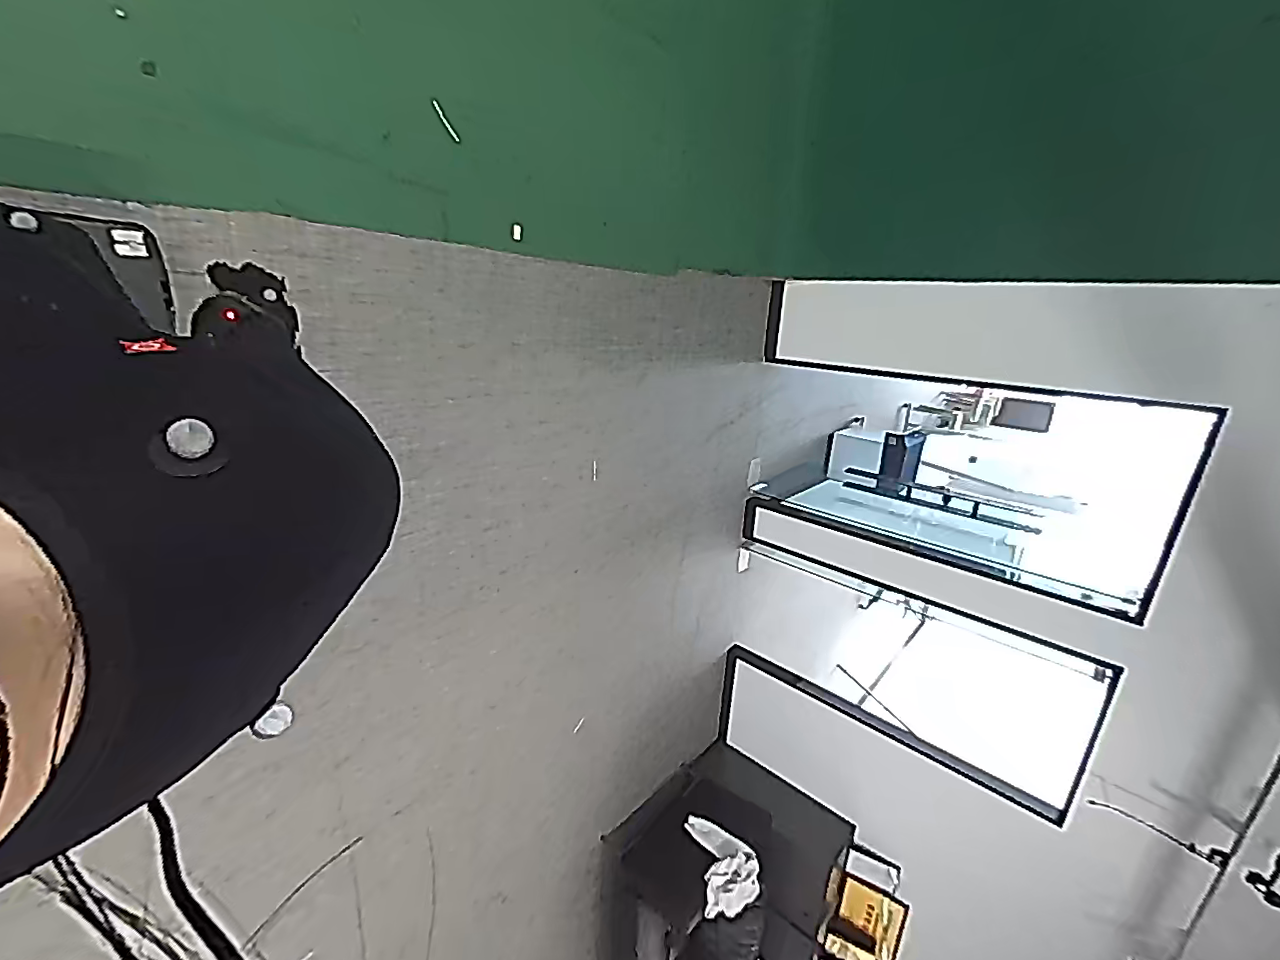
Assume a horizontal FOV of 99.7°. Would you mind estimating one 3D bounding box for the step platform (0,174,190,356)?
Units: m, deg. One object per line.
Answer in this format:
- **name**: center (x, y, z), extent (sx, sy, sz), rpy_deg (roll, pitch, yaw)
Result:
- **step platform**: center (-1.124, -0.331, 0.799), extent (0.684, 0.204, 0.286), rpy_deg (-16, 117, -46)
